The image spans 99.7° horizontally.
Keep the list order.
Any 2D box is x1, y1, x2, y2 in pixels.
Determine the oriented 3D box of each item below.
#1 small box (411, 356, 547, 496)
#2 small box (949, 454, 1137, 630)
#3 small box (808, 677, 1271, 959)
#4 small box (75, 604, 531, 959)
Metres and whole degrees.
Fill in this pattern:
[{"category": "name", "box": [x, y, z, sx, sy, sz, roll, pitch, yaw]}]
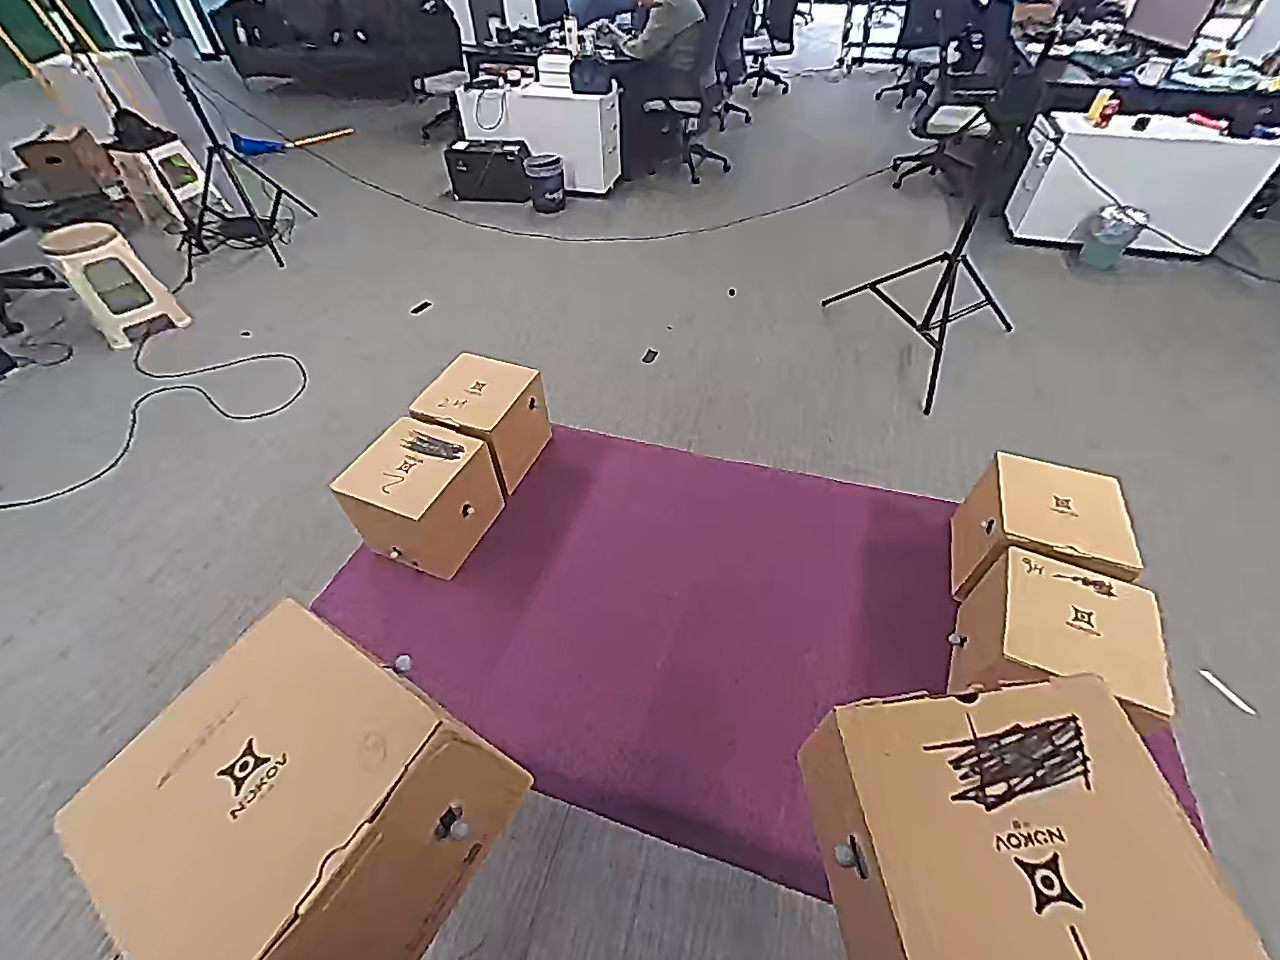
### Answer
[{"category": "small box", "box": [-0.286, -0.101, 1.011, 0.168, 0.176, 0.179, 16, 51, 14]}, {"category": "small box", "box": [0.592, 0.094, 0.825, 0.168, 0.176, 0.179, 16, 49, 14]}, {"category": "small box", "box": [0.221, 0.248, 0.351, 0.168, 0.176, 0.179, -8, 54, 1]}, {"category": "small box", "box": [-0.205, 0.223, 0.377, 0.179, 0.176, 0.168, 20, 57, 27]}]
